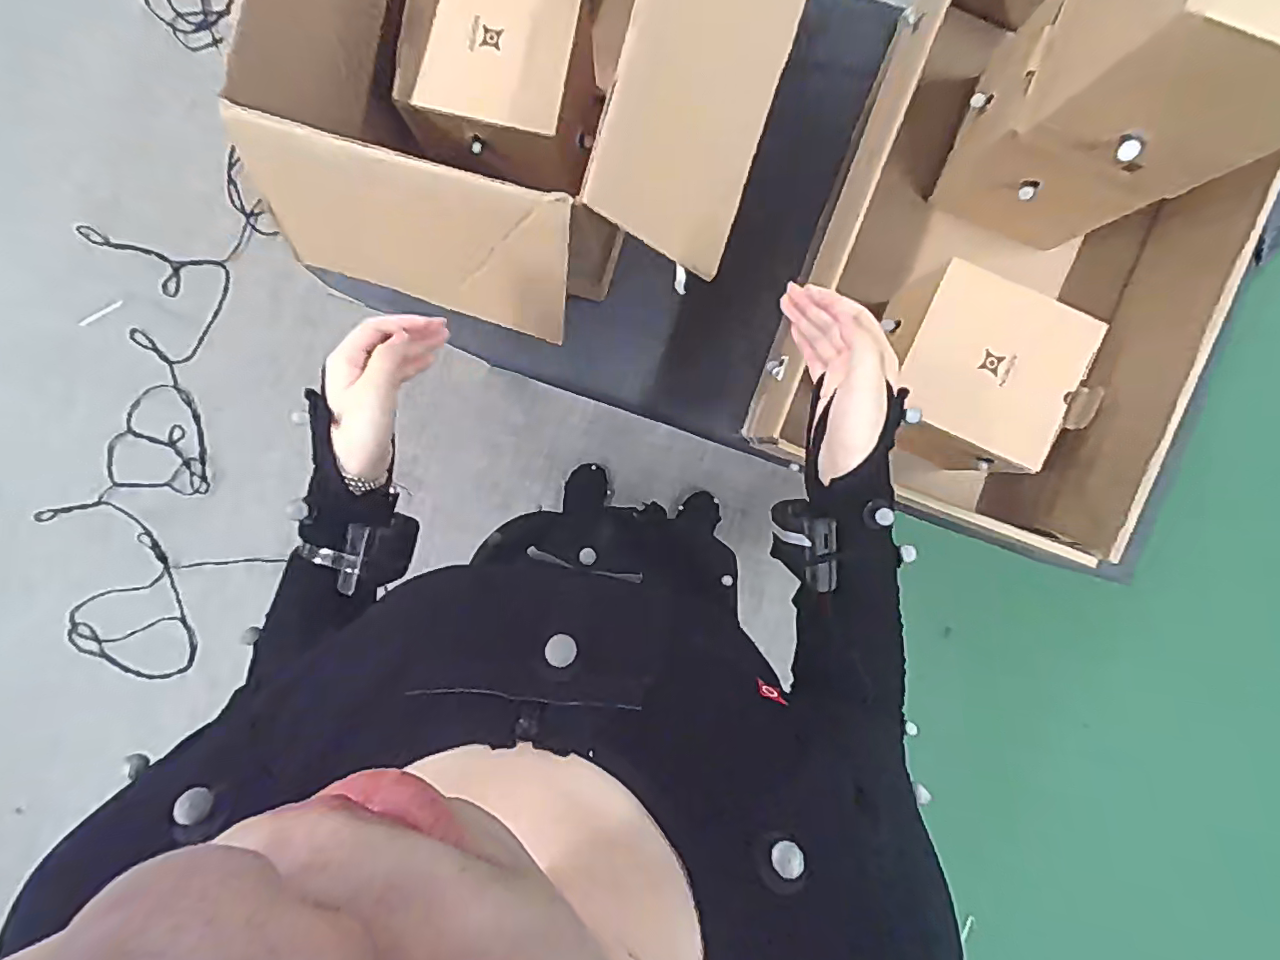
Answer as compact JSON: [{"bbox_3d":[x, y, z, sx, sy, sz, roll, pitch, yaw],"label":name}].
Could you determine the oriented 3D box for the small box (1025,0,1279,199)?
[{"bbox_3d":[0.474,-0.376,0.449,0.168,0.176,0.179,20,96,-2],"label":"small box"}]
